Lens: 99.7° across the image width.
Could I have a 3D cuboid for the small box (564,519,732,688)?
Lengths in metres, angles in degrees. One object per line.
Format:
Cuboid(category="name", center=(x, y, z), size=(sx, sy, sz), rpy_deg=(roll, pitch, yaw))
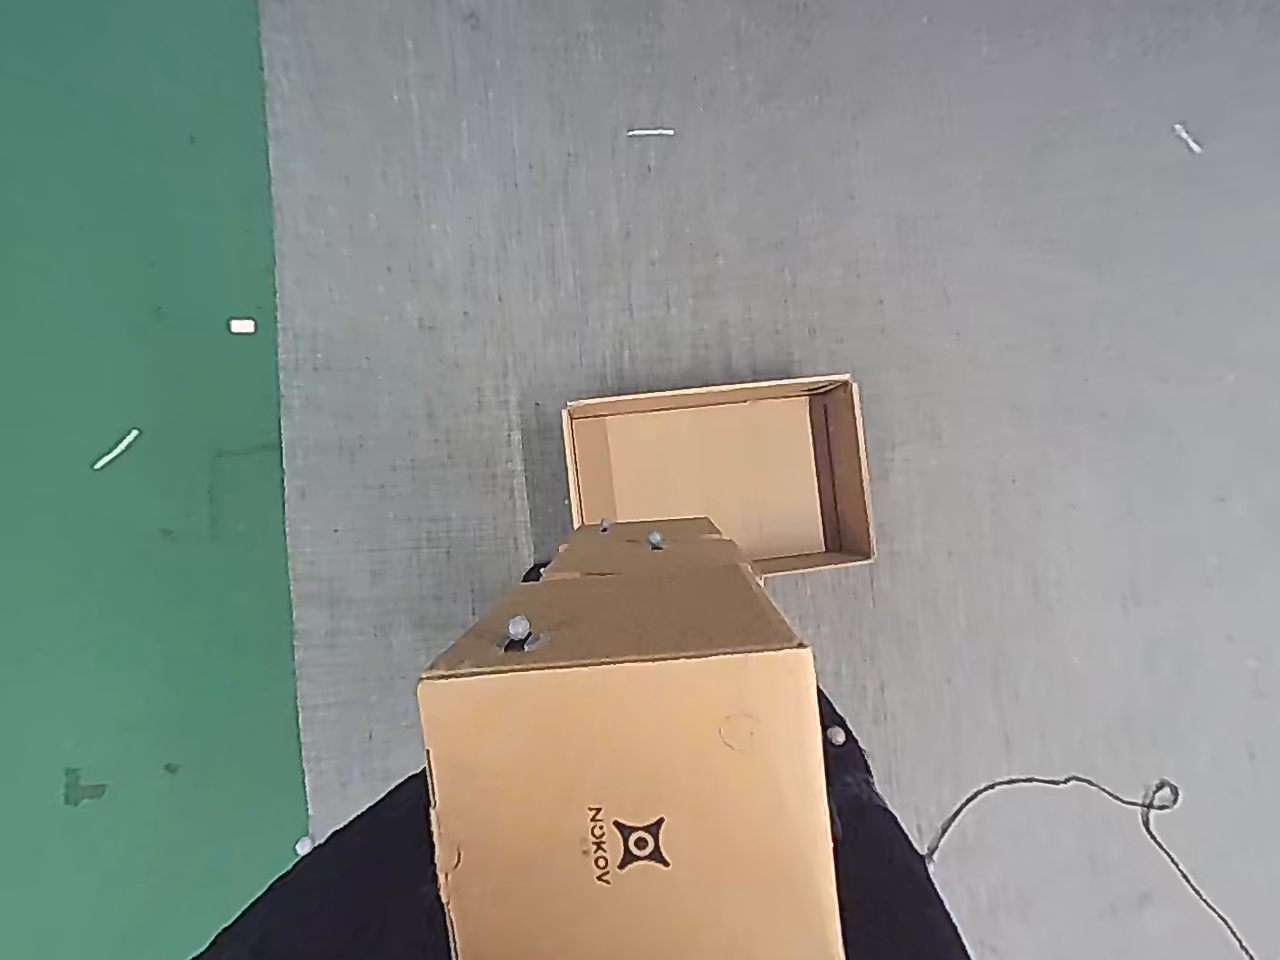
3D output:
Cuboid(category="small box", center=(0.013, 0.138, 0.654), size=(0.179, 0.176, 0.168), rpy_deg=(-3, 92, 3))
